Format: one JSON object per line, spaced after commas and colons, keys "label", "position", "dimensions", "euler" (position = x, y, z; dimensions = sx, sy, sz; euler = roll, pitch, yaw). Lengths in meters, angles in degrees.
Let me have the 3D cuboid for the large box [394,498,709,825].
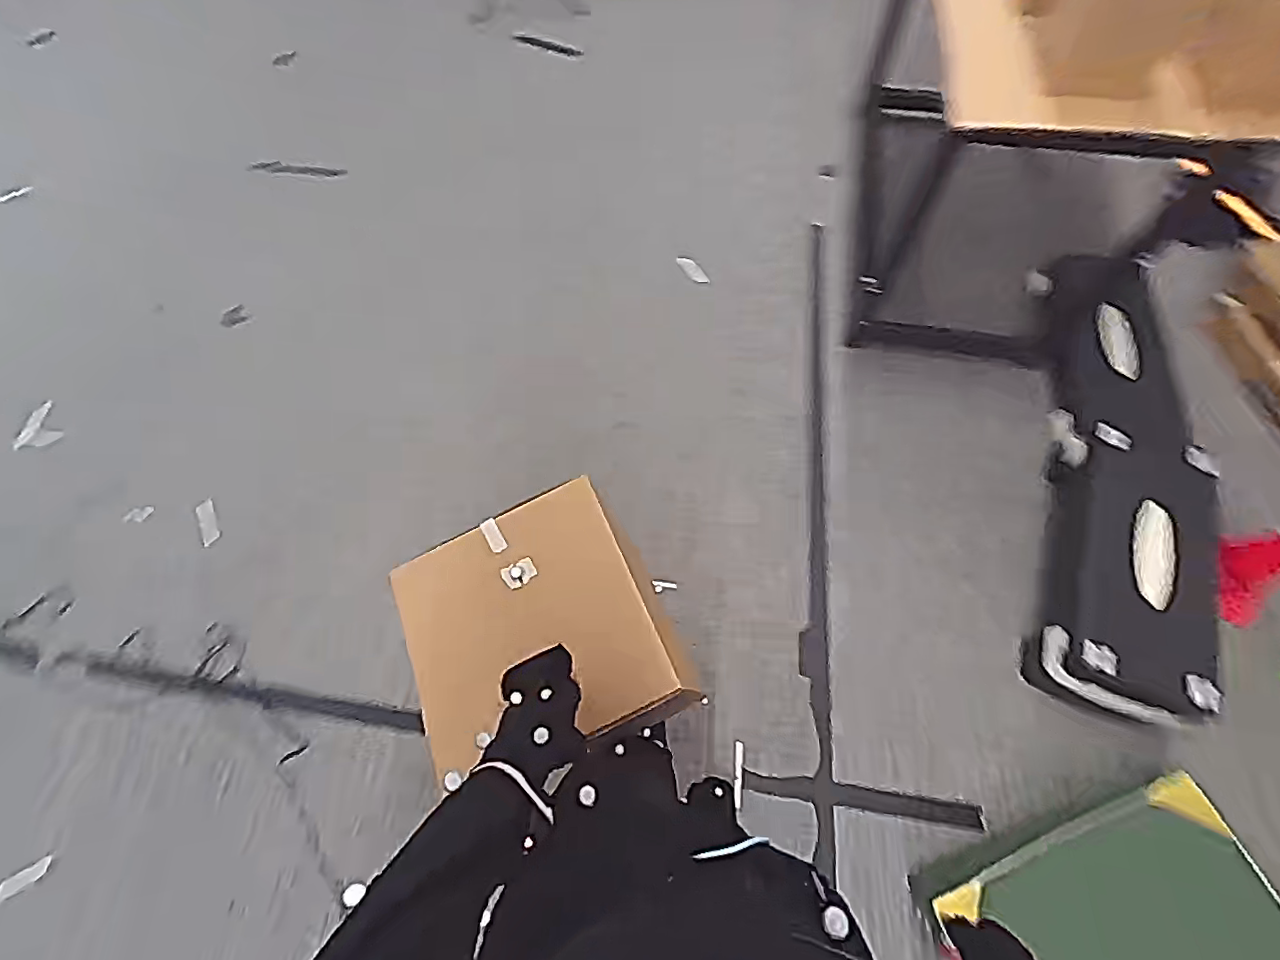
{"label": "large box", "position": [-0.111, 0.278, 0.867], "dimensions": [0.320, 0.408, 0.320], "euler": [-27, 66, 0]}
